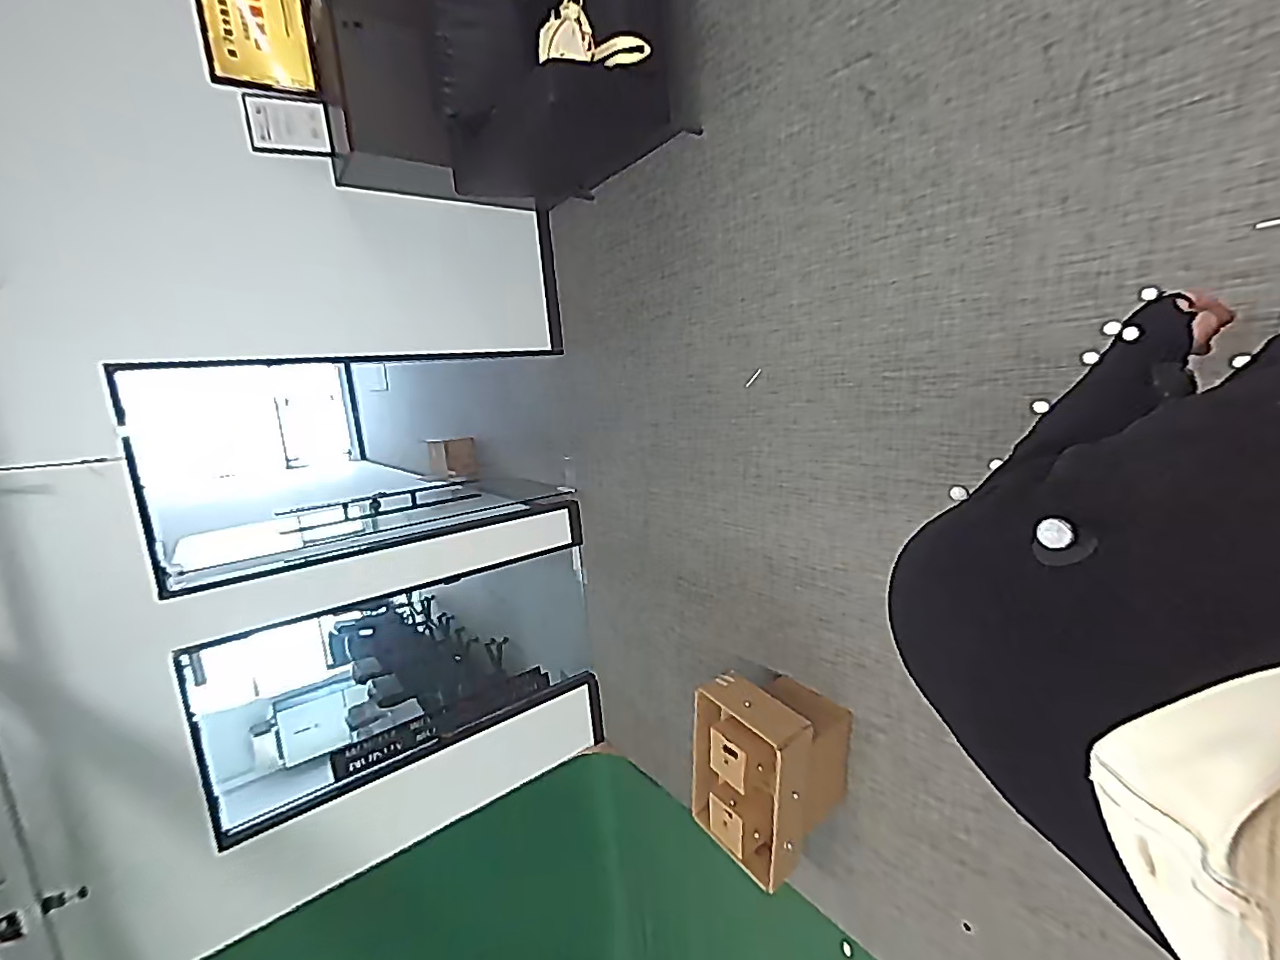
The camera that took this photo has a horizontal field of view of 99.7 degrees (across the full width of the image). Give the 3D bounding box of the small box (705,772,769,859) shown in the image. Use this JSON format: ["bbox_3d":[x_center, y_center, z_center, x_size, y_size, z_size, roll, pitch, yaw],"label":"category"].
[{"bbox_3d":[0.360,1.233,1.997,0.168,0.176,0.179,15,112,51],"label":"small box"}]
